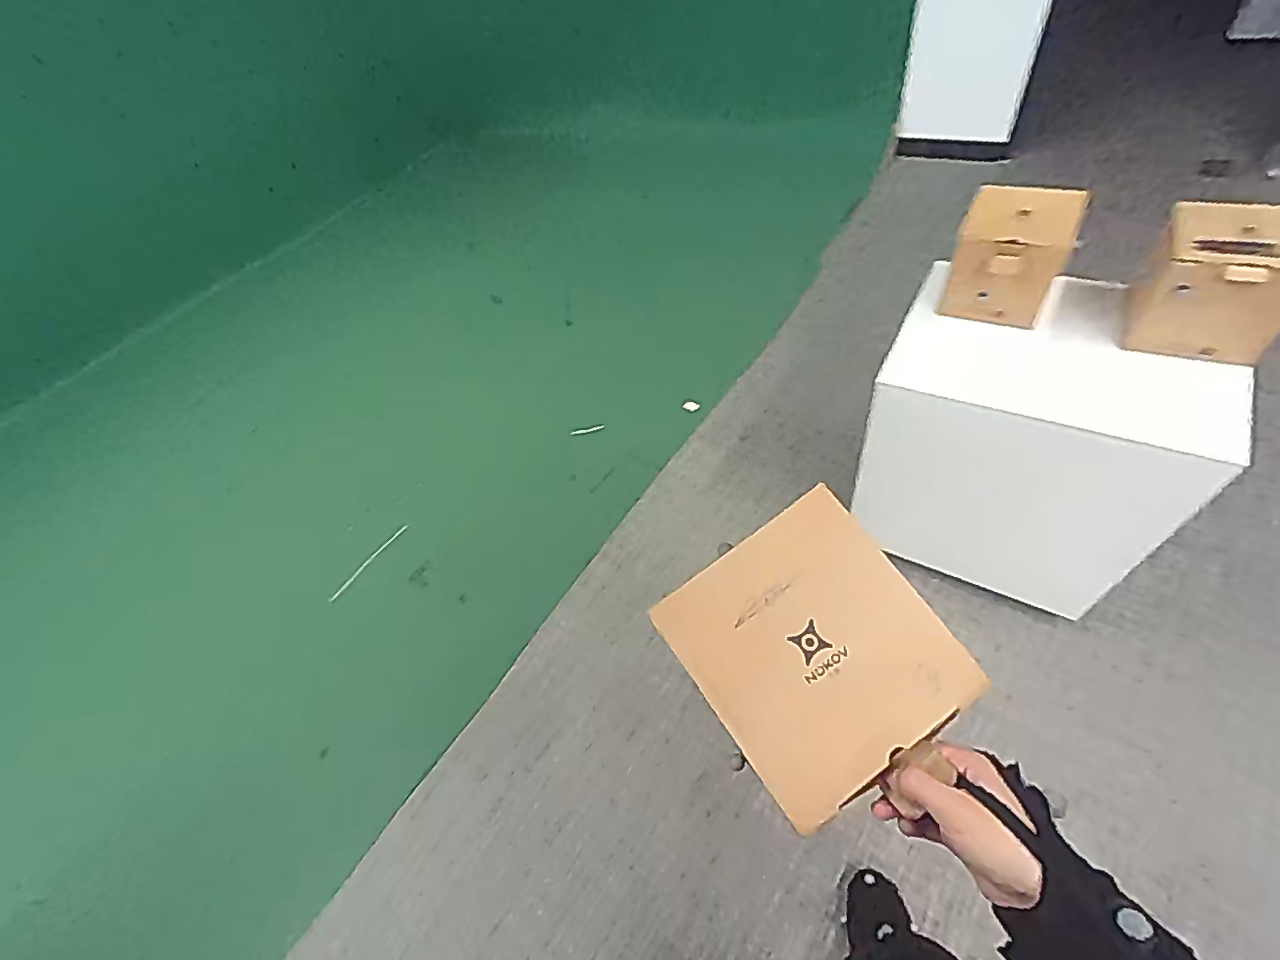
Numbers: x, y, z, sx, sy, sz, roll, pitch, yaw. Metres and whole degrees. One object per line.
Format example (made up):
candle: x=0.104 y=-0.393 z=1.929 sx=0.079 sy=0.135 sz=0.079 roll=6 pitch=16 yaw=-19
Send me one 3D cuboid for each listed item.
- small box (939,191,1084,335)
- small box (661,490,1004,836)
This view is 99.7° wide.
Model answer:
small box: x=0.676 y=-0.401 z=0.999 sx=0.168 sy=0.176 sz=0.179 roll=20 pitch=62 yaw=26
small box: x=0.136 y=0.139 z=0.450 sx=0.168 sy=0.176 sz=0.179 roll=-35 pitch=73 yaw=-6
